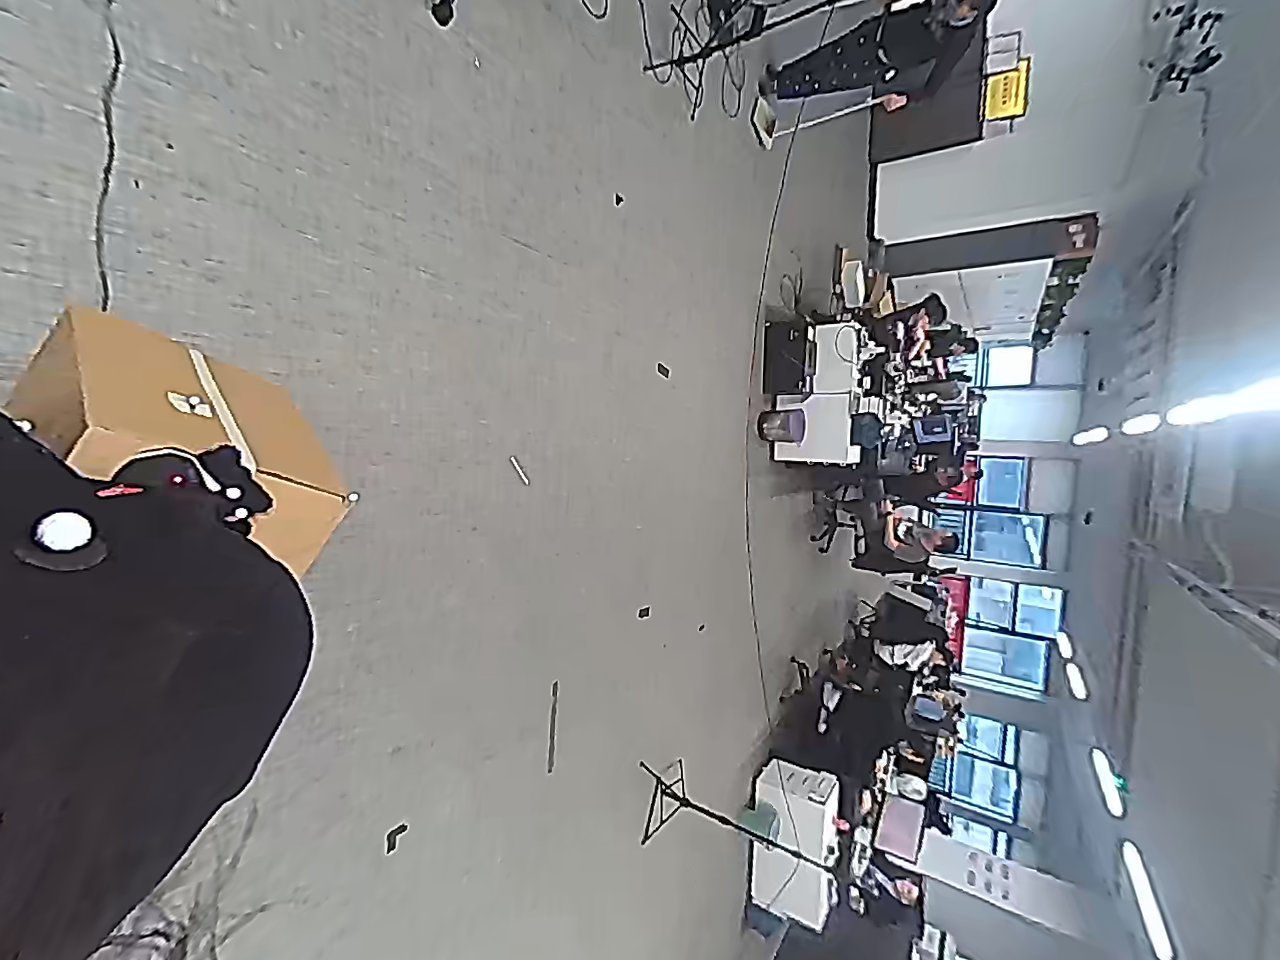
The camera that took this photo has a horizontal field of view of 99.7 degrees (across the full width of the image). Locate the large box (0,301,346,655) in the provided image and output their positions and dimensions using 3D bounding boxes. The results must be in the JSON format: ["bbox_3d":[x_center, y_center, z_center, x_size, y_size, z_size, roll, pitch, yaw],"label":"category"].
[{"bbox_3d":[-0.737,0.005,0.817,0.320,0.408,0.320,-53,146,5],"label":"large box"}]
